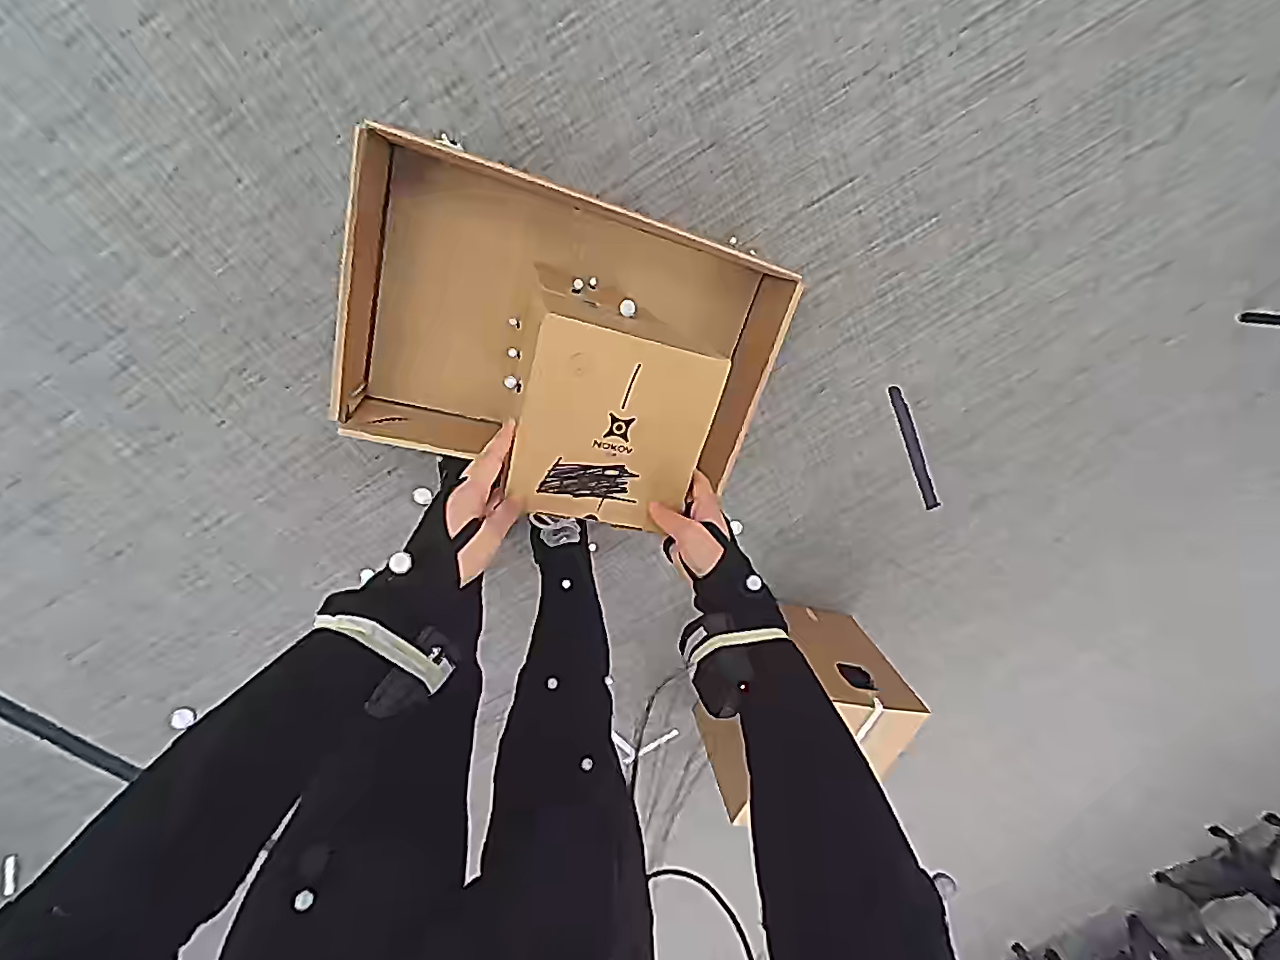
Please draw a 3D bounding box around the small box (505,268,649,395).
[{"bbox_3d":[-0.106,-0.211,0.832,0.168,0.176,0.179,14,112,-19],"label":"small box"}]

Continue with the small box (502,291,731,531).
[{"bbox_3d":[-0.037,-0.074,0.542,0.168,0.176,0.179,11,111,-19],"label":"small box"}]

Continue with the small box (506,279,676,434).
[{"bbox_3d":[-0.071,-0.142,0.690,0.168,0.176,0.179,13,113,-18],"label":"small box"}]
